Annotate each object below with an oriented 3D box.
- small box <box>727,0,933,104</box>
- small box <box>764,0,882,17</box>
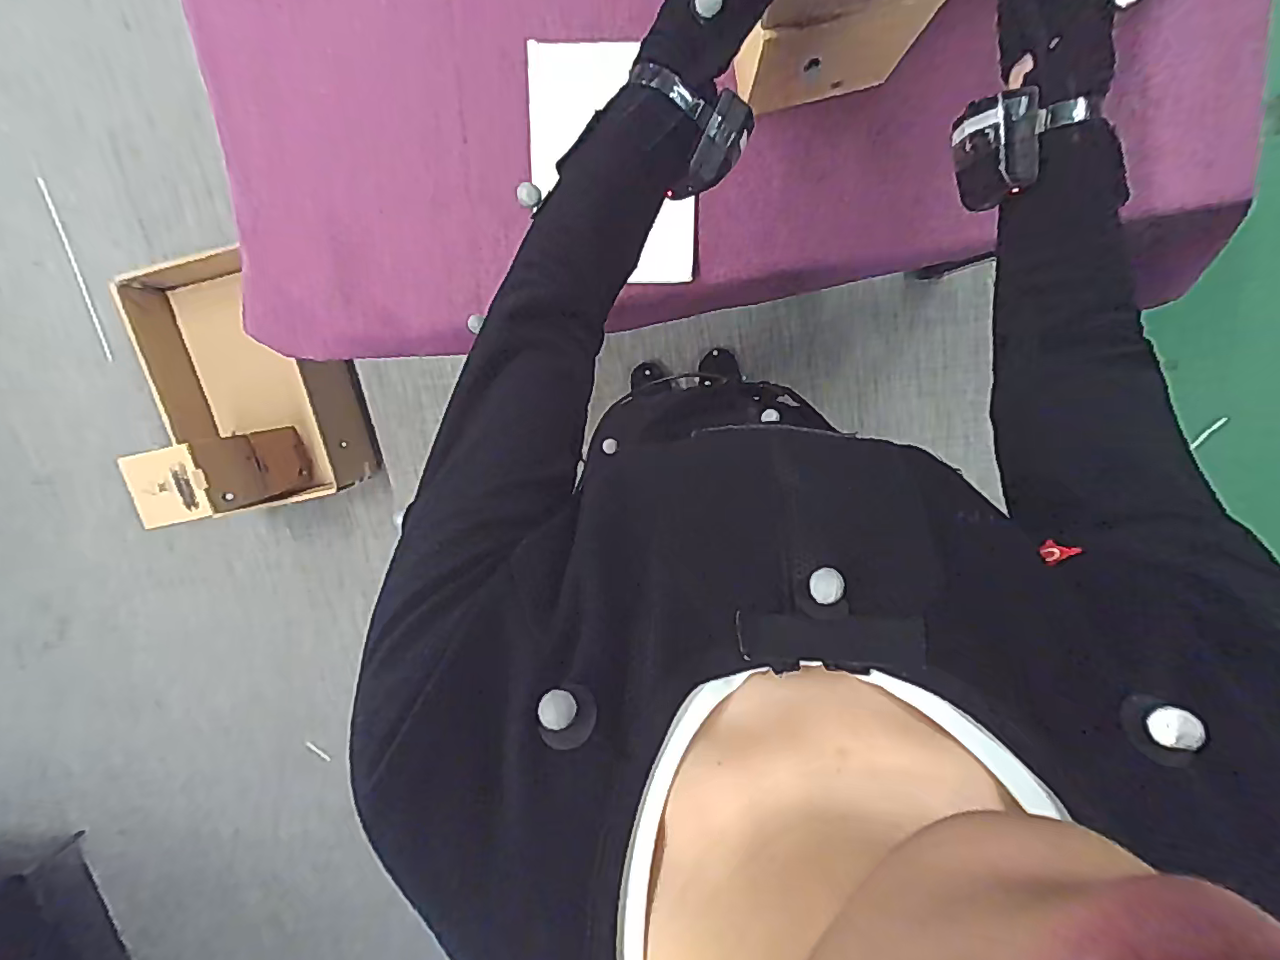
[{"bbox_3d":[0.179,-0.509,0.535,0.168,0.176,0.179,-10,101,6],"label":"small box"},{"bbox_3d":[0.168,-0.479,0.372,0.168,0.176,0.179,-6,102,6],"label":"small box"}]
